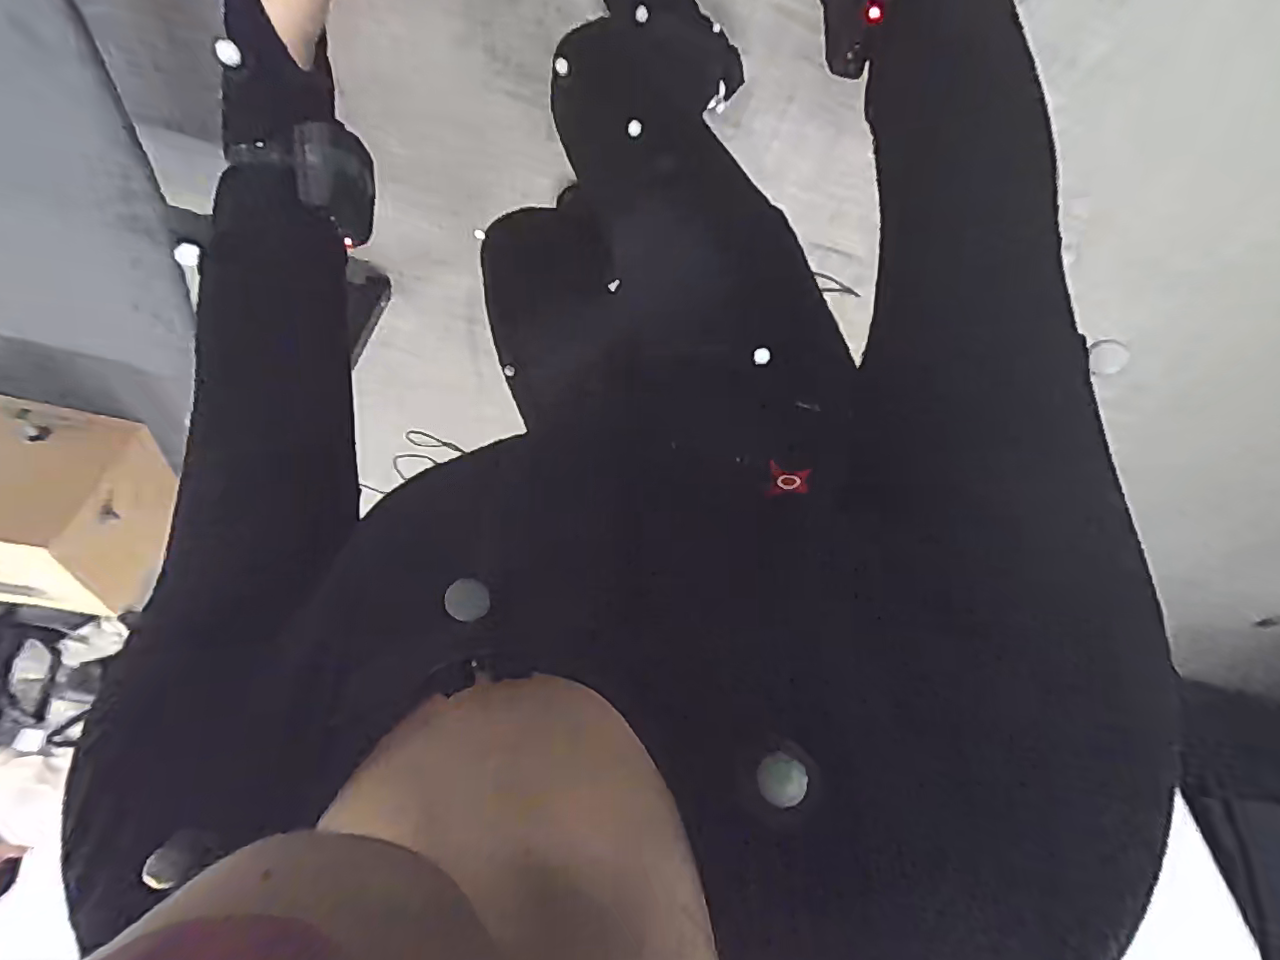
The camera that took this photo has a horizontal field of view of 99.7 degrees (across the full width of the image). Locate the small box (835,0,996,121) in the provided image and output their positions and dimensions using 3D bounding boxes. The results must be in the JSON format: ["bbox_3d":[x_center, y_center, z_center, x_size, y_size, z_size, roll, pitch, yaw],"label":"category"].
[{"bbox_3d":[0.399,-0.691,0.799,0.168,0.176,0.179,-20,137,27],"label":"small box"}]
